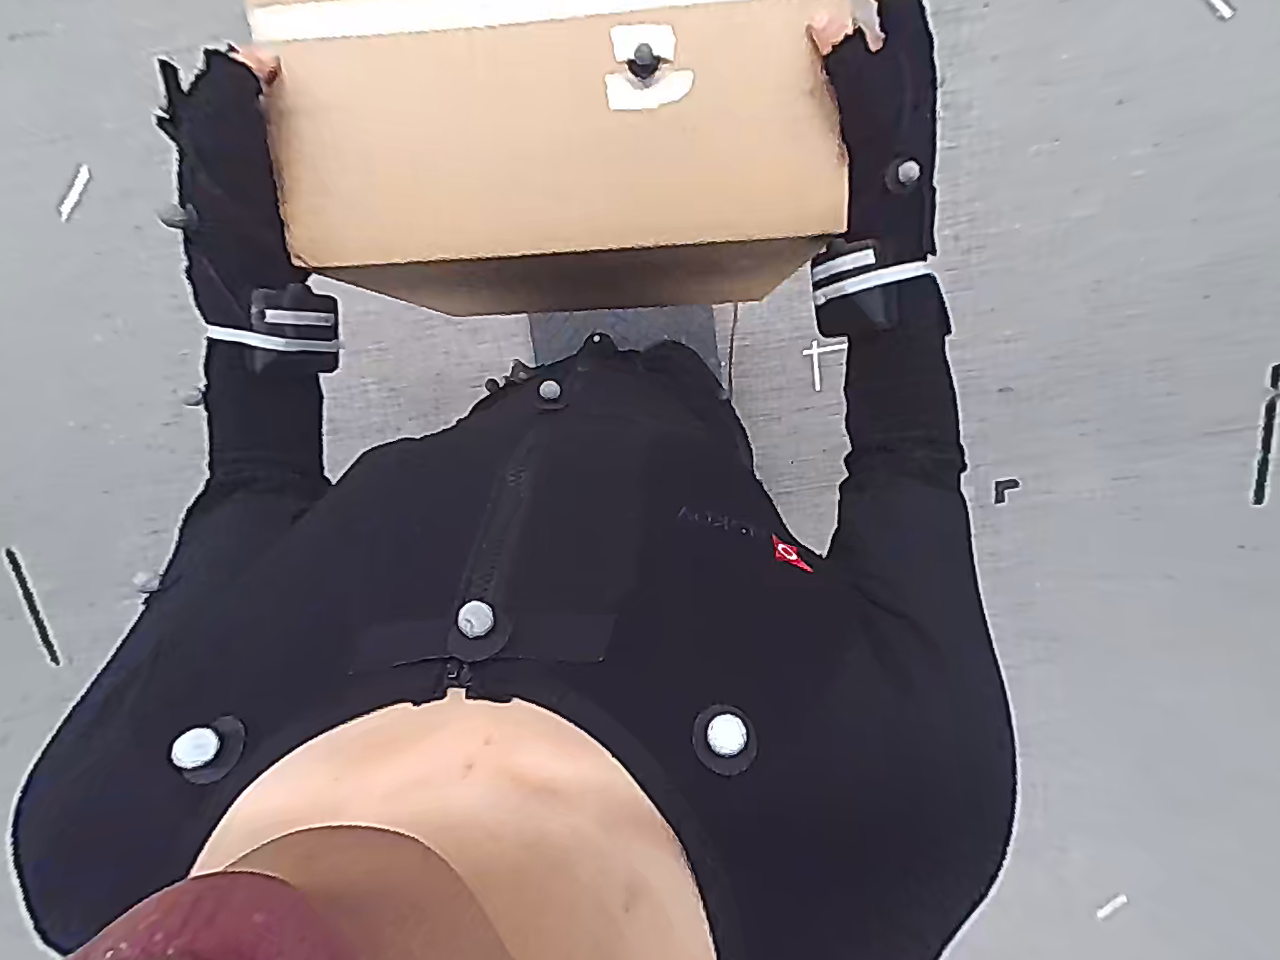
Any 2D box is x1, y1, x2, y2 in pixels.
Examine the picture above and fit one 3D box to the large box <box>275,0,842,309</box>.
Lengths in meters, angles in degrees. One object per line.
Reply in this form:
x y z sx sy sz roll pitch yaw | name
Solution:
-0.058 -0.359 0.523 0.408 0.320 0.320 -3 101 2 | large box
